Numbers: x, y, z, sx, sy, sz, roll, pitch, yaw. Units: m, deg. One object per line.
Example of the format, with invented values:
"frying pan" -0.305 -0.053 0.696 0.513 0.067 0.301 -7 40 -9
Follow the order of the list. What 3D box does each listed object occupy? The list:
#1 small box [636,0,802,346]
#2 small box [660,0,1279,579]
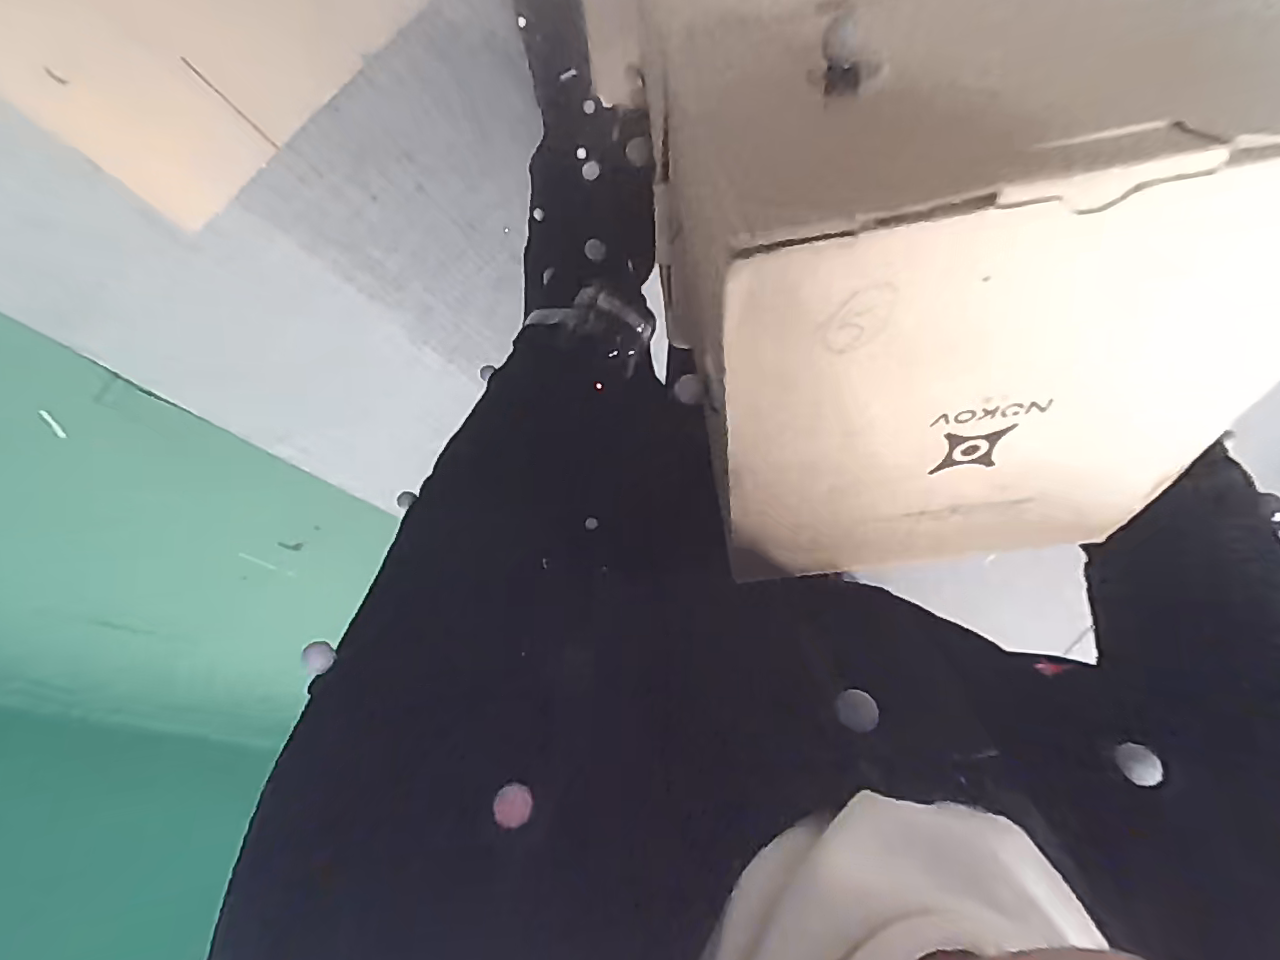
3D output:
"small box" 0.092 -0.208 0.329 0.179 0.176 0.168 -7 141 4
"small box" 0.103 -0.079 0.226 0.168 0.176 0.179 -8 144 7
